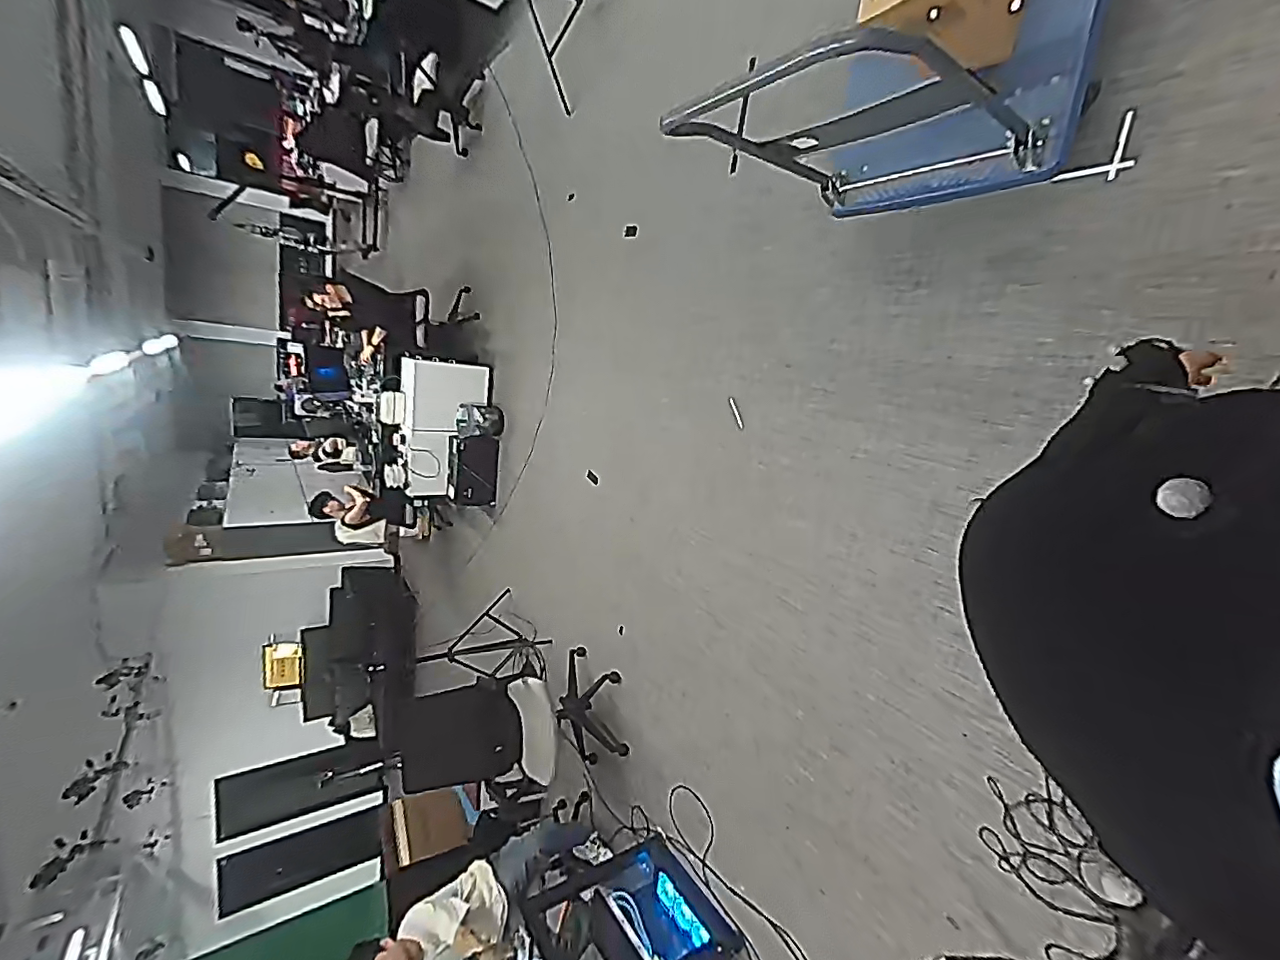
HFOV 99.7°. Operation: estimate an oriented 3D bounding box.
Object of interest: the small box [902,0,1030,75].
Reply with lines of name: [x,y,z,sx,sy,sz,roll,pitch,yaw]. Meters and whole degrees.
small box: [0.714,-1.024,1.176,0.179,0.176,0.168,27,113,51]
